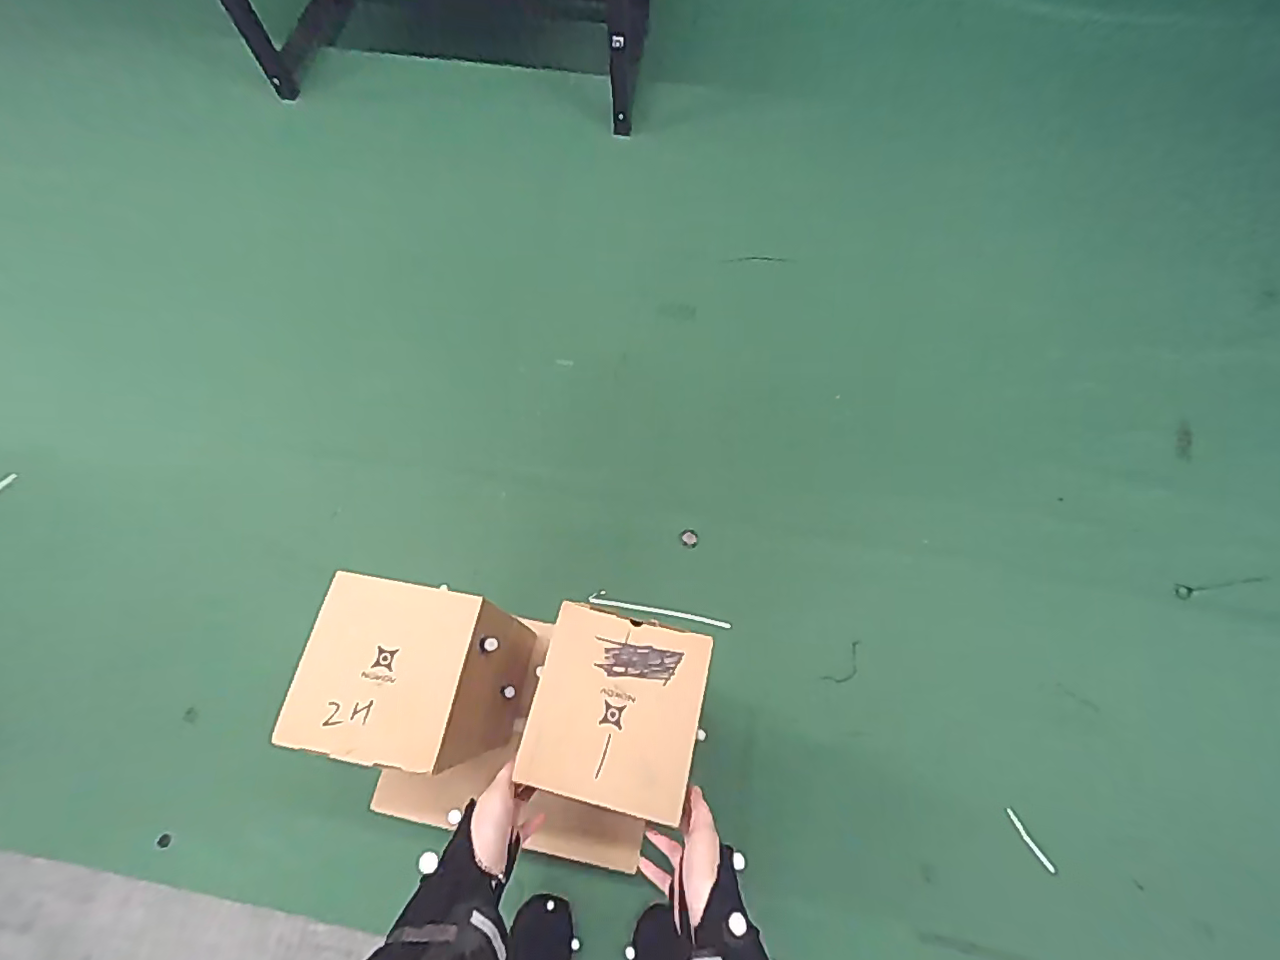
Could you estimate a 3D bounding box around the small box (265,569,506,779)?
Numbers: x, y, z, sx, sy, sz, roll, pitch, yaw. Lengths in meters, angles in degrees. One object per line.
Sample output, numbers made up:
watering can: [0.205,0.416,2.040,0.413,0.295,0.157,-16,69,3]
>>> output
small box: [-0.263,0.219,0.614,0.168,0.176,0.179,10,67,4]

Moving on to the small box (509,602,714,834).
small box: [-0.023,0.252,0.596,0.168,0.176,0.179,12,68,7]

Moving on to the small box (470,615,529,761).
small box: [-0.265,0.280,0.768,0.168,0.176,0.179,11,67,4]

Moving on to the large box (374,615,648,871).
large box: [-0.169,0.438,0.964,0.408,0.320,0.320,10,68,4]
